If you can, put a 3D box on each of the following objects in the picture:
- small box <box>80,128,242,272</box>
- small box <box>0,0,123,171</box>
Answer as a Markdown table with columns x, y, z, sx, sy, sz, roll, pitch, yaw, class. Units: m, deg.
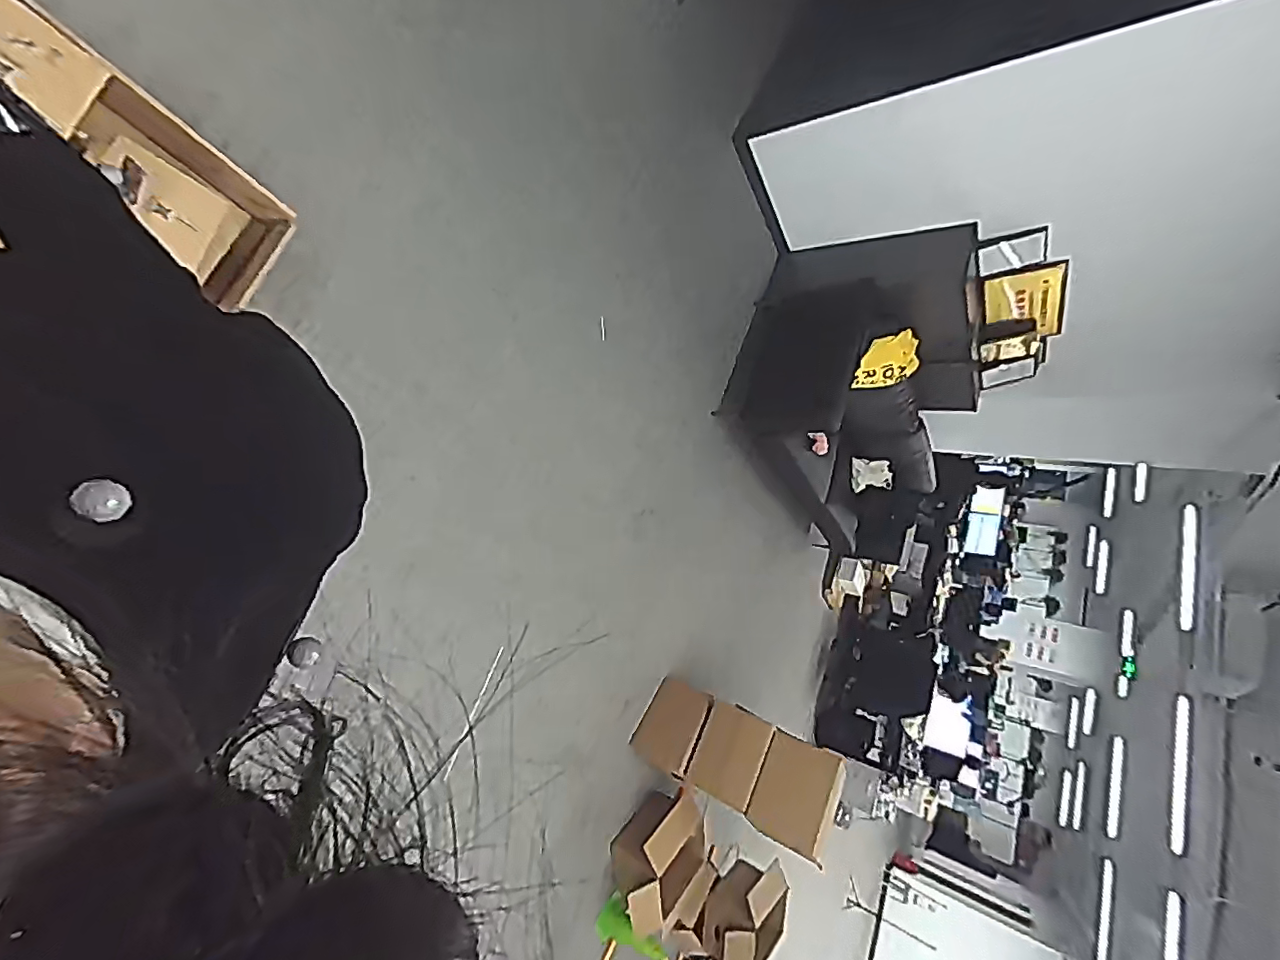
| x | y | z | sx | sy | sz | roll | pitch | yaw | class |
| --- | --- | --- | --- | --- | --- | --- | --- | --- | --- |
| -0.924 | -0.523 | 1.043 | 0.179 | 0.176 | 0.168 | 31 | 74 | -50 | small box |
| -0.910 | -0.585 | 0.782 | 0.168 | 0.176 | 0.179 | 35 | 72 | -52 | small box |
